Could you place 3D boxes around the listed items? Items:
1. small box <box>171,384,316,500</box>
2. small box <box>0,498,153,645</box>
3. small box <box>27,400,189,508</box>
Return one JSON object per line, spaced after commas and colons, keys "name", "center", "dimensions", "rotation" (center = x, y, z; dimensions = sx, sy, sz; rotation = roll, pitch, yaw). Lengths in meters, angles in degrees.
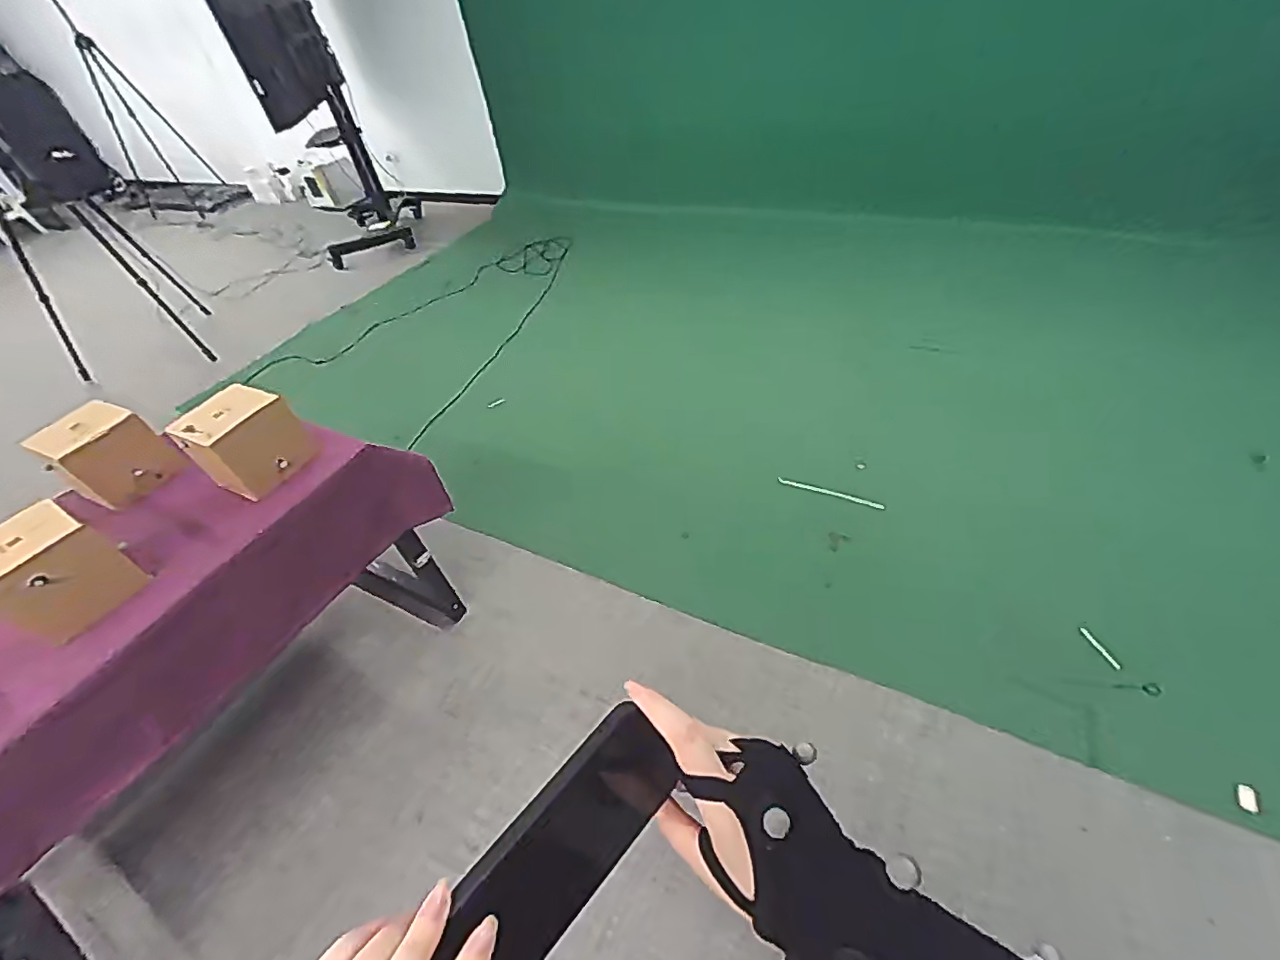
{"name": "small box", "center": [-0.866, -0.086, 1.206], "dimensions": [0.168, 0.176, 0.179], "rotation": [15, 50, 24]}
{"name": "small box", "center": [-1.069, 0.168, 0.991], "dimensions": [0.168, 0.176, 0.179], "rotation": [19, 51, 26]}
{"name": "small box", "center": [-1.208, -0.059, 1.241], "dimensions": [0.179, 0.176, 0.168], "rotation": [15, 50, 23]}
